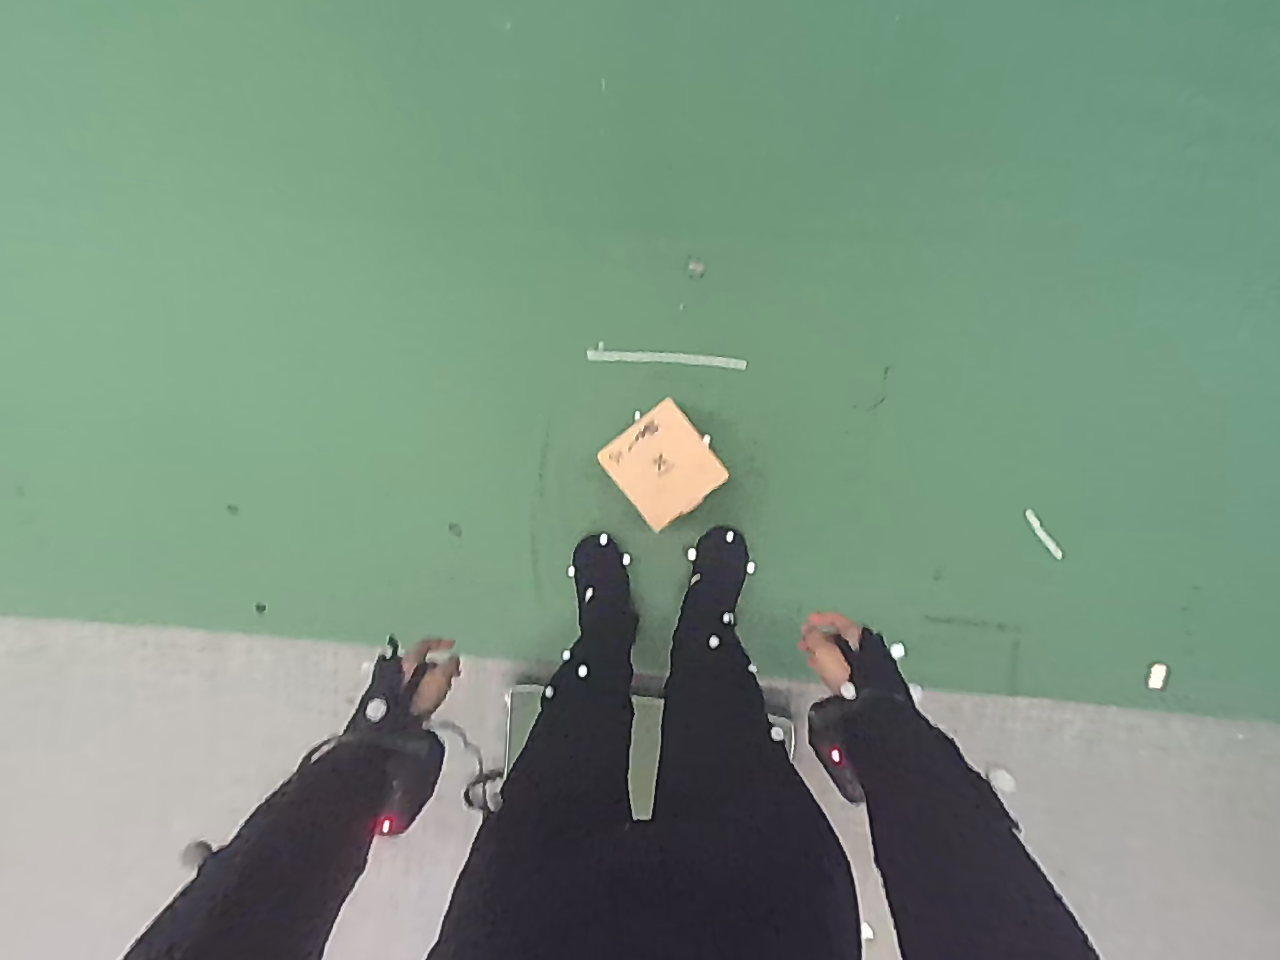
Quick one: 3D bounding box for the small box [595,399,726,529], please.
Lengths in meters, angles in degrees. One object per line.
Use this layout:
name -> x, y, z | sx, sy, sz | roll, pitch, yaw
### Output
small box -> 0.041, -0.038, 1.016 | 0.168, 0.176, 0.179 | -37, 94, 7
